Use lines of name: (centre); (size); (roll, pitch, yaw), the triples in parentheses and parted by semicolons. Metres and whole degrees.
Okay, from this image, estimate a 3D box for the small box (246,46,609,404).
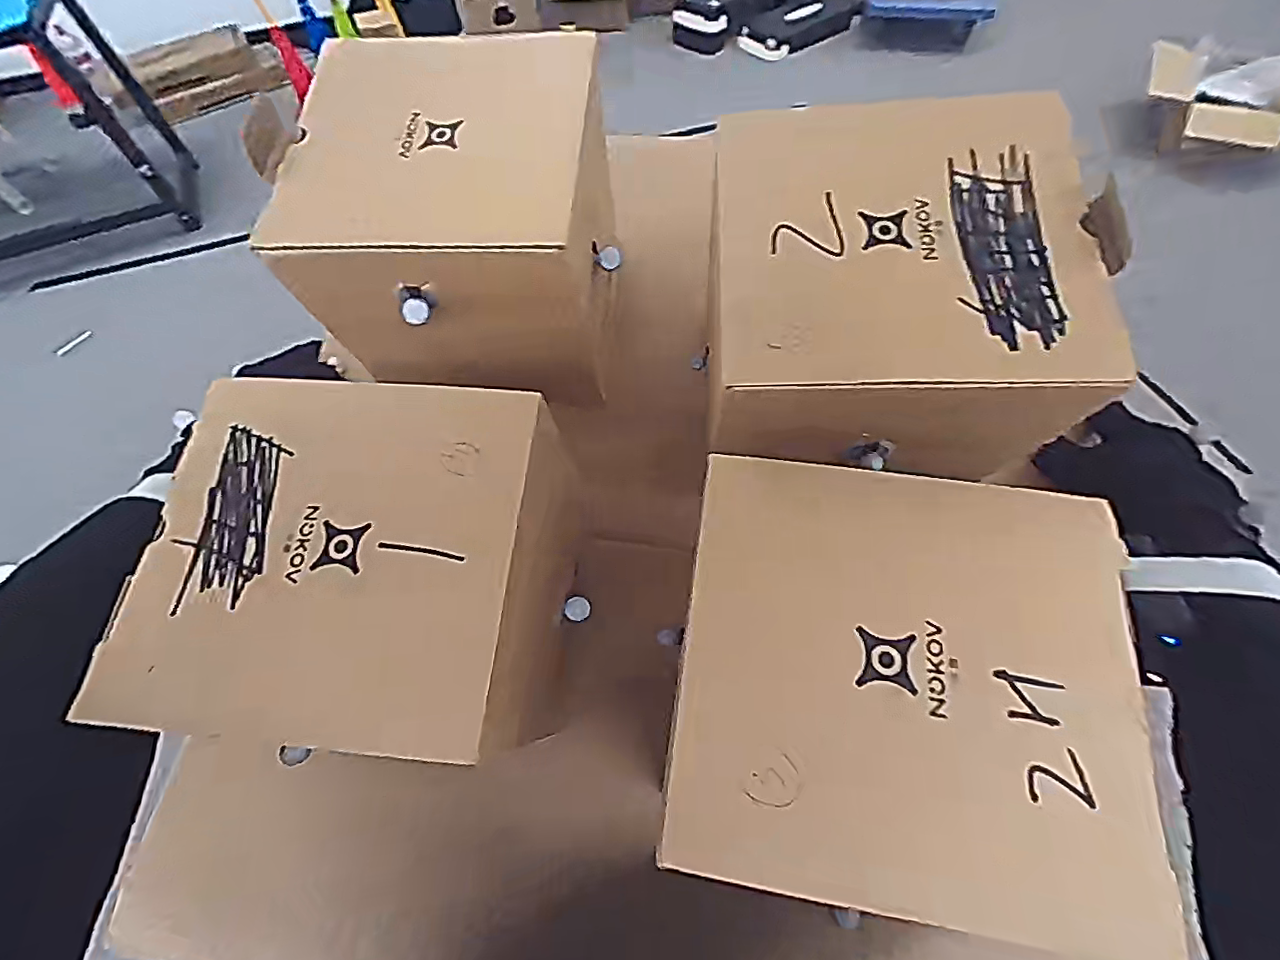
small box: (-0.120, -0.165, 0.389); (0.179, 0.176, 0.168); (1, 70, 5)
